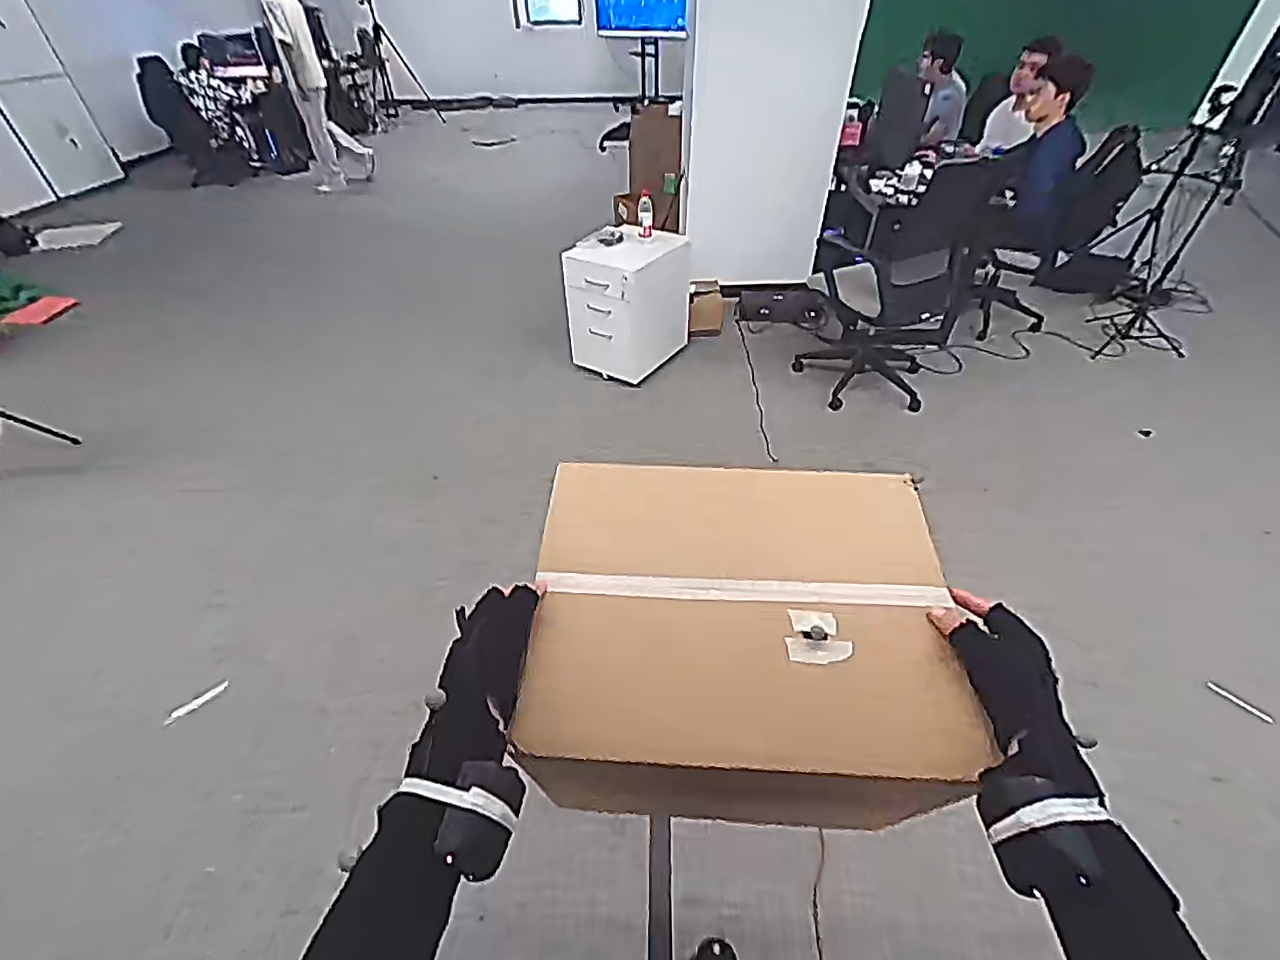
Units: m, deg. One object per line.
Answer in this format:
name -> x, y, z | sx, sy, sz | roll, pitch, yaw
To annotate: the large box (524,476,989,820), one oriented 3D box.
large box -> 0.103, 0.211, 0.665 | 0.408, 0.320, 0.320 | 2, 52, 3
